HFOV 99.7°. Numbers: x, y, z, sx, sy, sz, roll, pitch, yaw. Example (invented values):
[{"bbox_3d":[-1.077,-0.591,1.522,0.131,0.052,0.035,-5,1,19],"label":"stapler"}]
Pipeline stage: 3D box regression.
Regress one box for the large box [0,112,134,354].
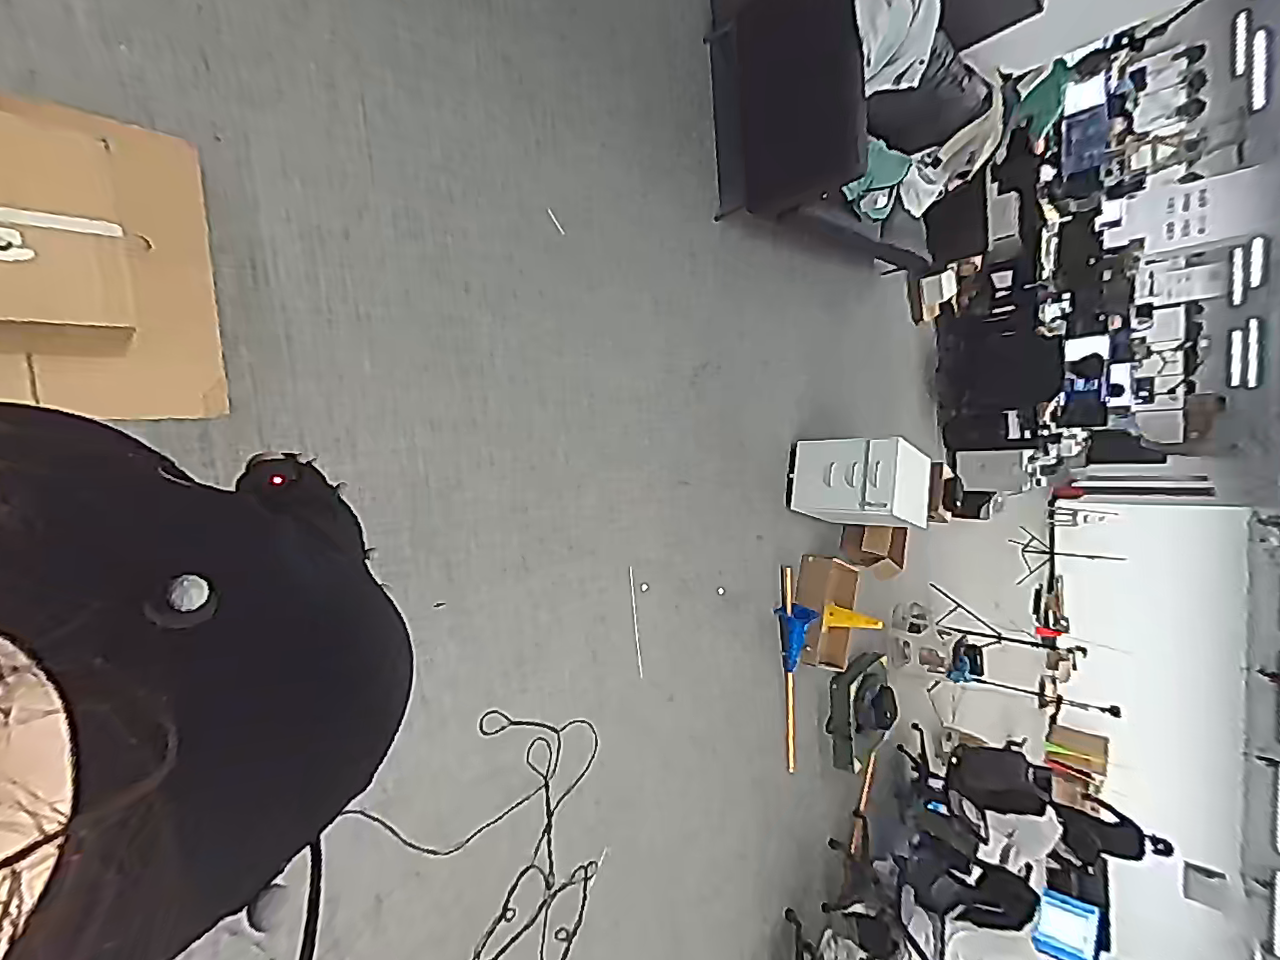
[{"bbox_3d":[-1.108,-0.380,0.848,0.408,0.320,0.320,-12,99,-47],"label":"large box"}]
